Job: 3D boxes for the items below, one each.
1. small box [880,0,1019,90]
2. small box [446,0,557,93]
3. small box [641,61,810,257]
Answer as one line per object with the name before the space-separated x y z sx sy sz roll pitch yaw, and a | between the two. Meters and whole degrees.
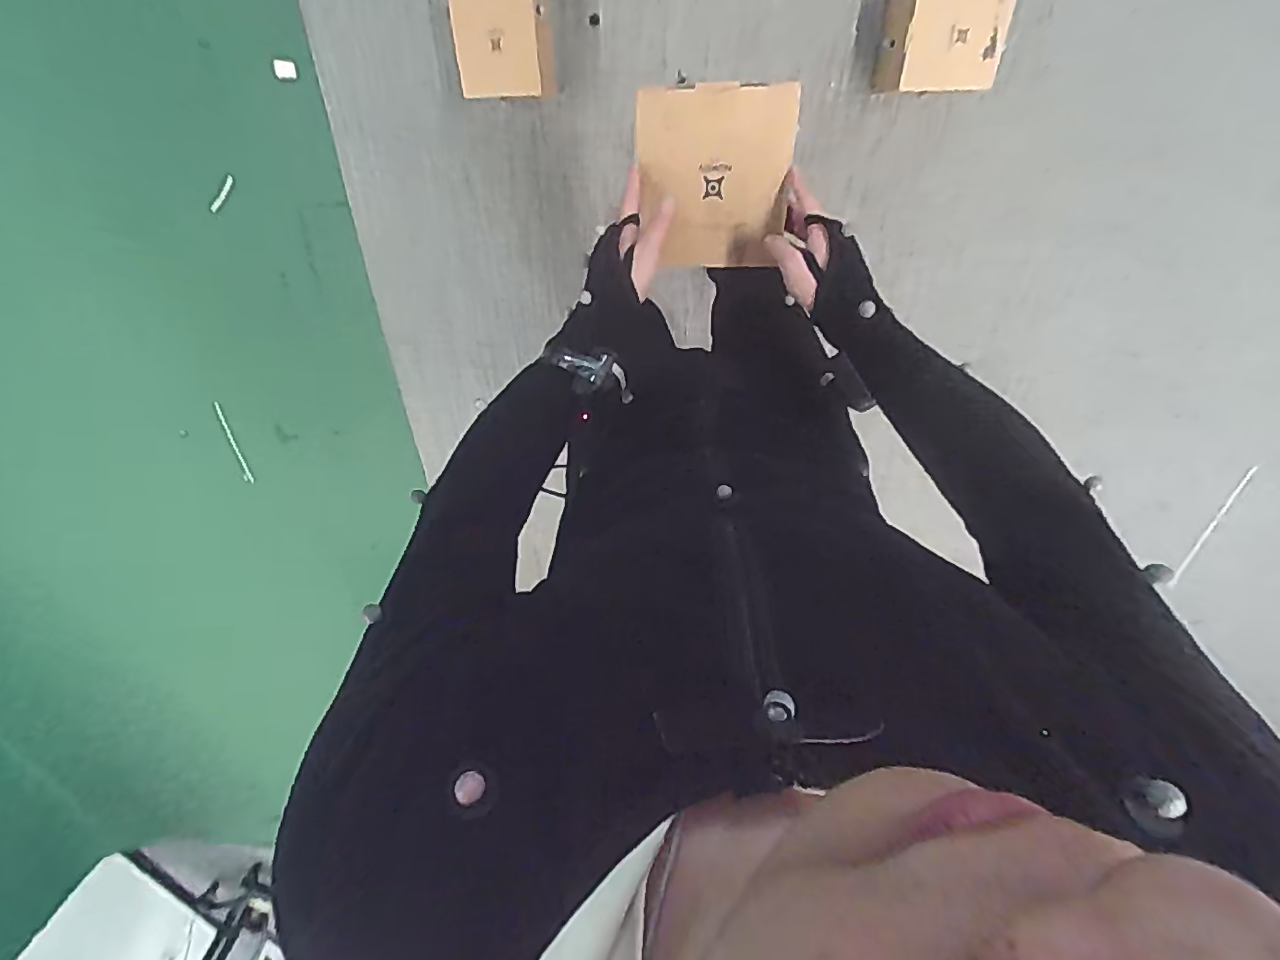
small box | 0.578 -0.848 1.027 0.179 0.176 0.168 3 124 5
small box | -0.270 -0.891 1.090 0.168 0.176 0.179 2 123 5
small box | 0.088 -0.372 0.630 0.168 0.176 0.179 2 126 5
